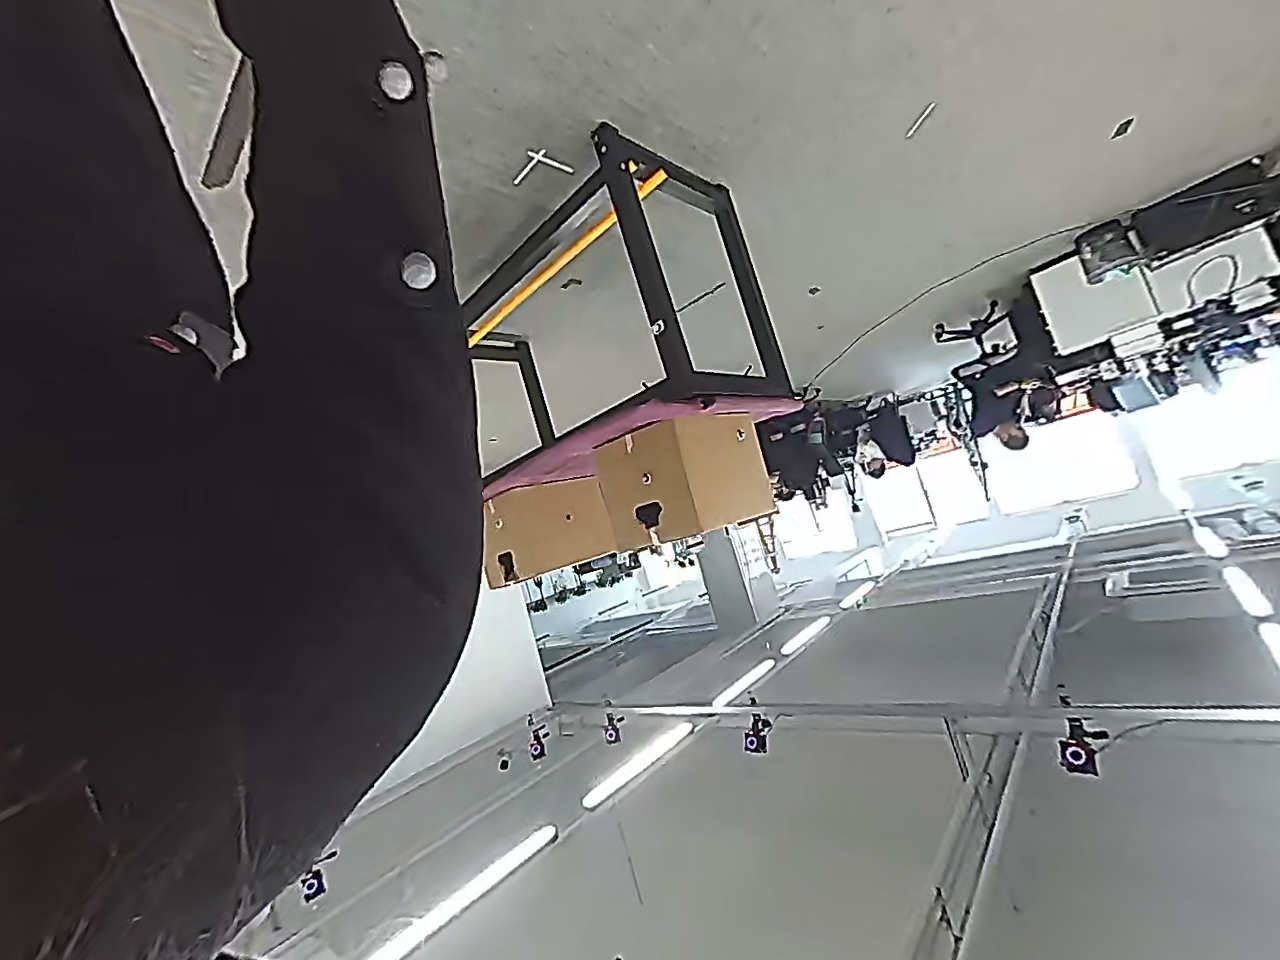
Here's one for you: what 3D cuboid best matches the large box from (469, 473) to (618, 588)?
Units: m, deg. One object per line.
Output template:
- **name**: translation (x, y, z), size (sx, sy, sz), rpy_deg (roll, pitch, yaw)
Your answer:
- **large box**: translation (-0.363, 0.181, 2.035), size (0.320, 0.320, 0.408), rpy_deg (-21, 174, 41)
